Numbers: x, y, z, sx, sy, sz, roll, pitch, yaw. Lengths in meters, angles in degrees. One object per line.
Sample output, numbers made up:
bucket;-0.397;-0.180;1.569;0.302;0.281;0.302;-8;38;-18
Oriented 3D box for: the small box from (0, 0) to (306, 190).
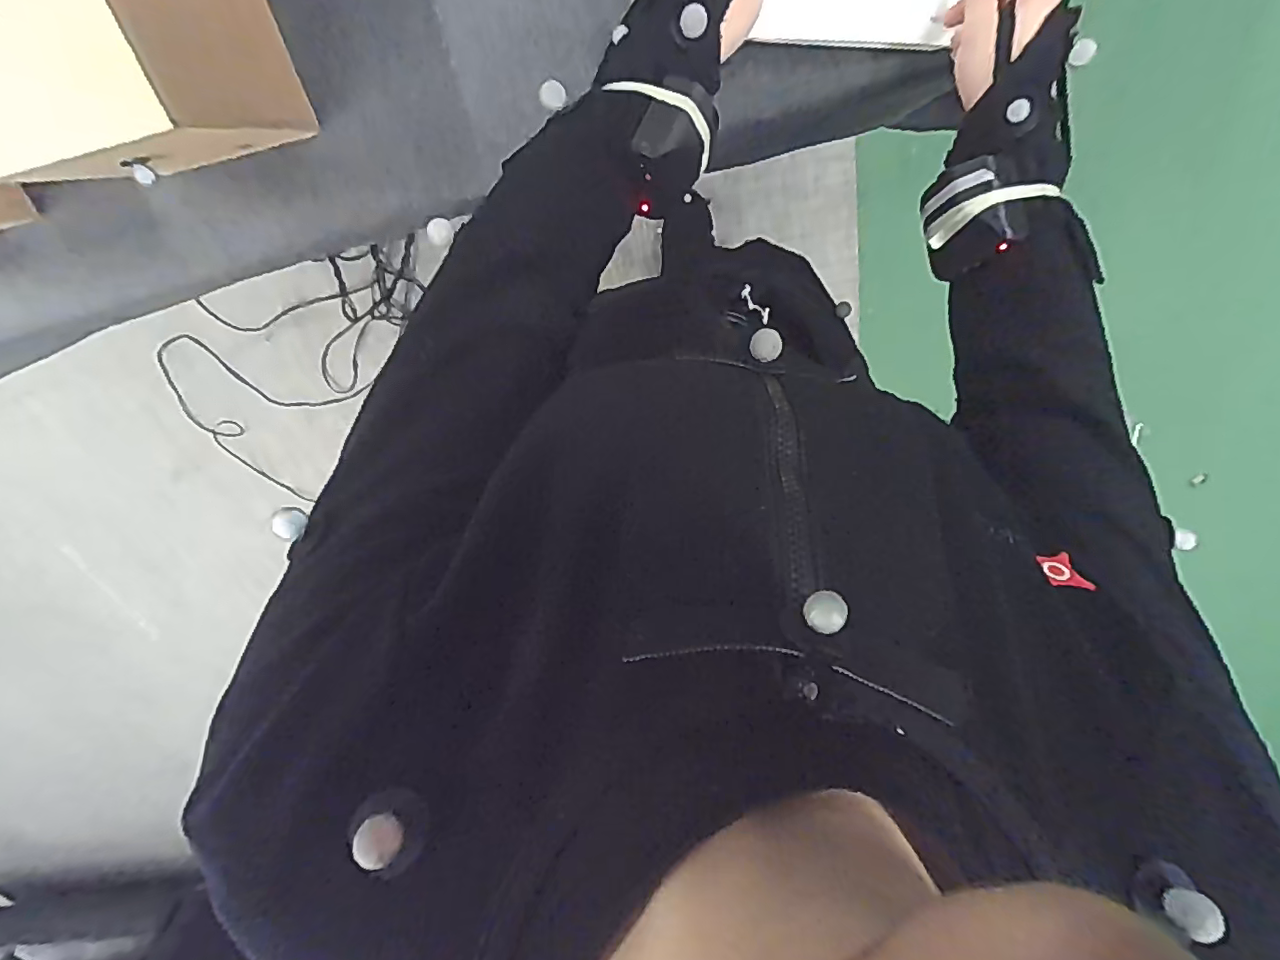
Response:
small box;-0.380;-0.317;0.372;0.168;0.176;0.179;-8;120;9
